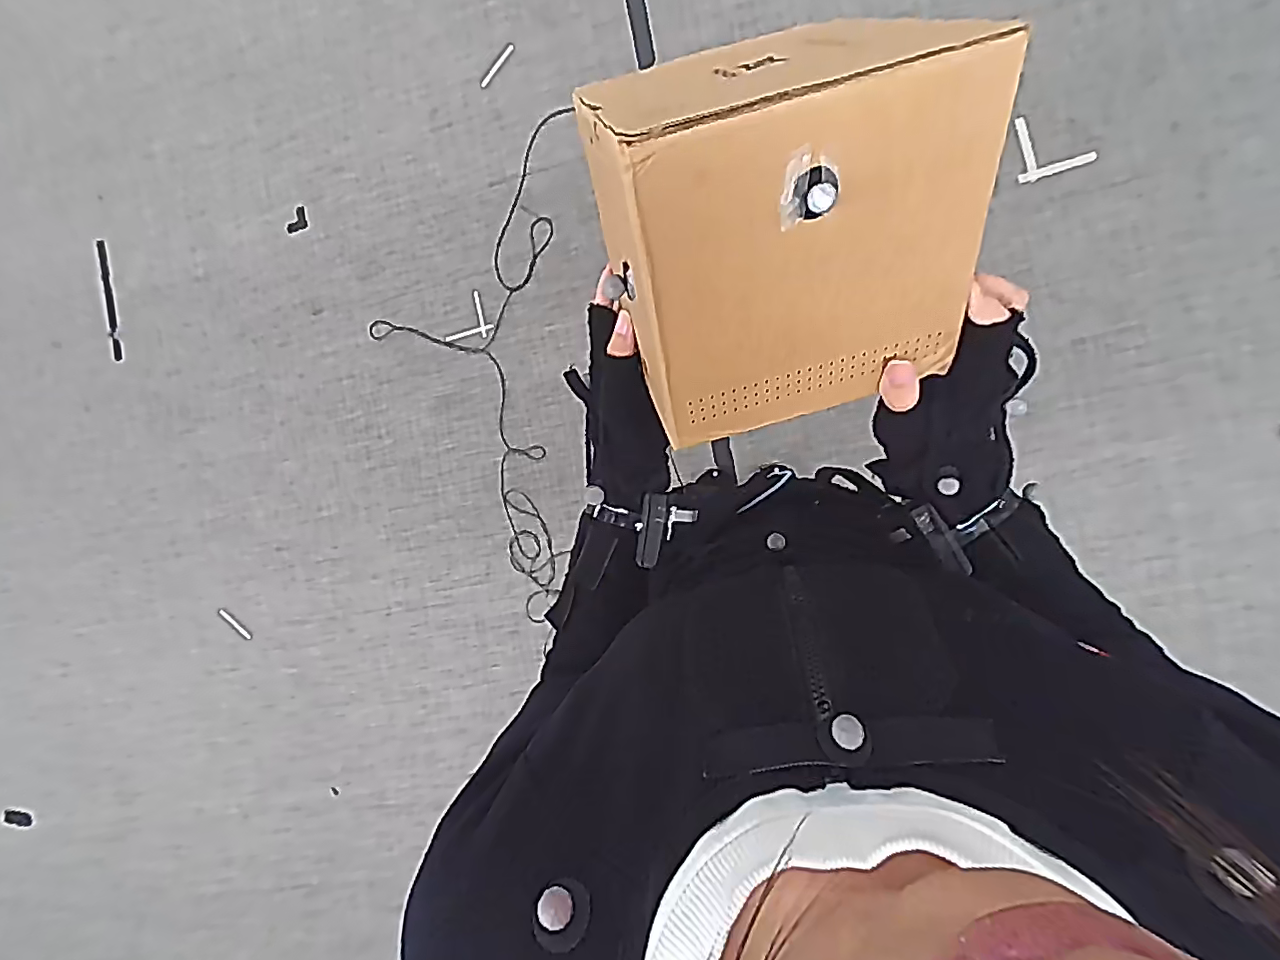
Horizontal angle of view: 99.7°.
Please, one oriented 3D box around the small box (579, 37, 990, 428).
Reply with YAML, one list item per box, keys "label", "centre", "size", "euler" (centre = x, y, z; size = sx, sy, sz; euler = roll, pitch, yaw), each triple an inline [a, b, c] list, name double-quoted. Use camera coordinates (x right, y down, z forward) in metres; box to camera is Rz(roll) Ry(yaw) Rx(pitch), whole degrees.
- label: "small box"
  centre: [0.073, -0.156, 0.346]
  size: [0.179, 0.168, 0.176]
  euler: [-16, 132, -1]
